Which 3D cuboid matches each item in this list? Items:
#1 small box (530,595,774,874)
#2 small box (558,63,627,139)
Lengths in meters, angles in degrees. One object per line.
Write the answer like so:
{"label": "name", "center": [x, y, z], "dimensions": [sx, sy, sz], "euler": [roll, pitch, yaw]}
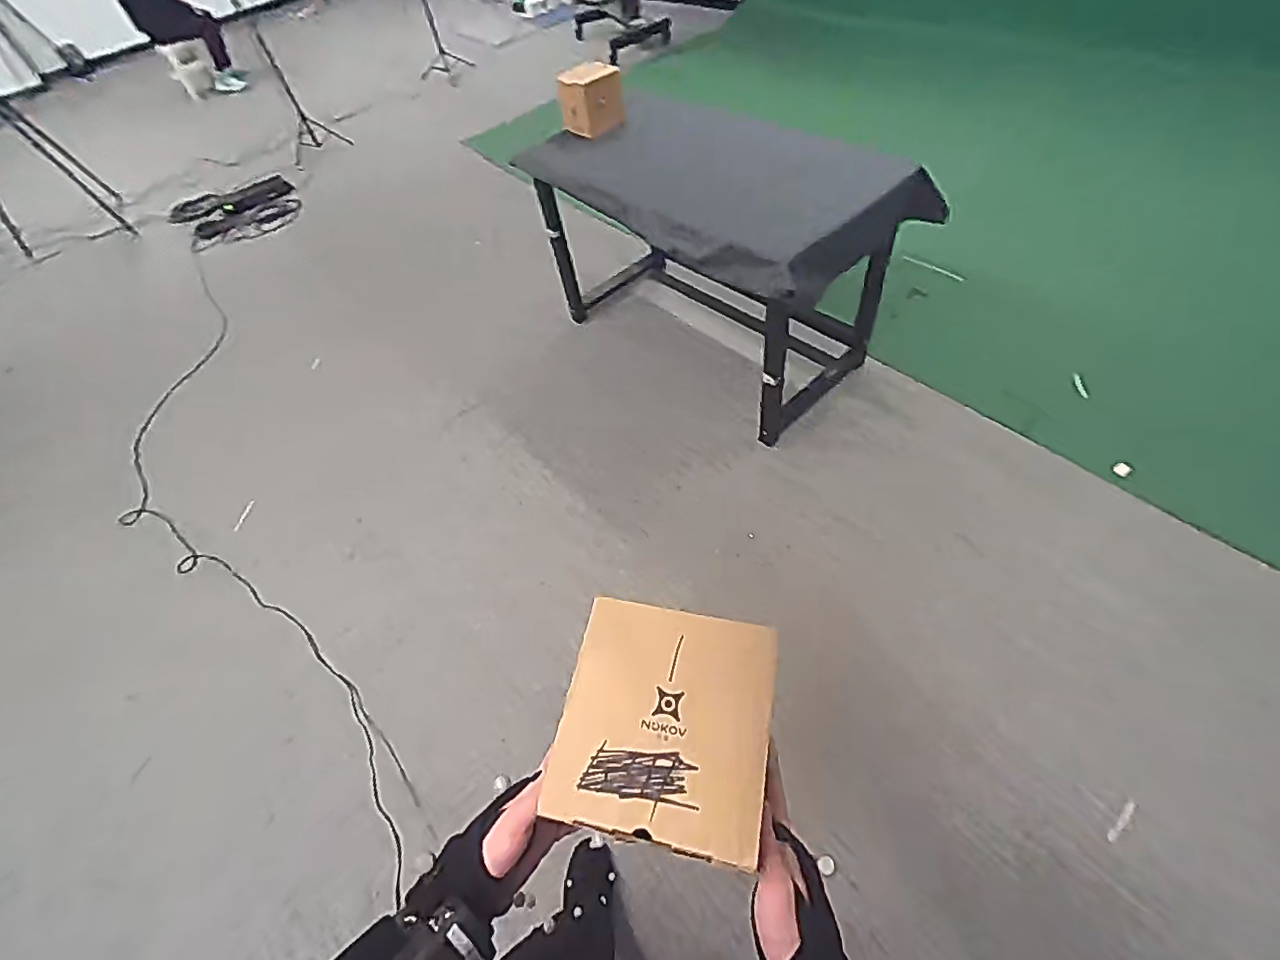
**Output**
{"label": "small box", "center": [0.023, 0.230, 0.493], "dimensions": [0.168, 0.176, 0.179], "euler": [8, 57, 11]}
{"label": "small box", "center": [-0.164, -1.369, 1.956], "dimensions": [0.179, 0.176, 0.168], "euler": [-39, 59, -18]}
